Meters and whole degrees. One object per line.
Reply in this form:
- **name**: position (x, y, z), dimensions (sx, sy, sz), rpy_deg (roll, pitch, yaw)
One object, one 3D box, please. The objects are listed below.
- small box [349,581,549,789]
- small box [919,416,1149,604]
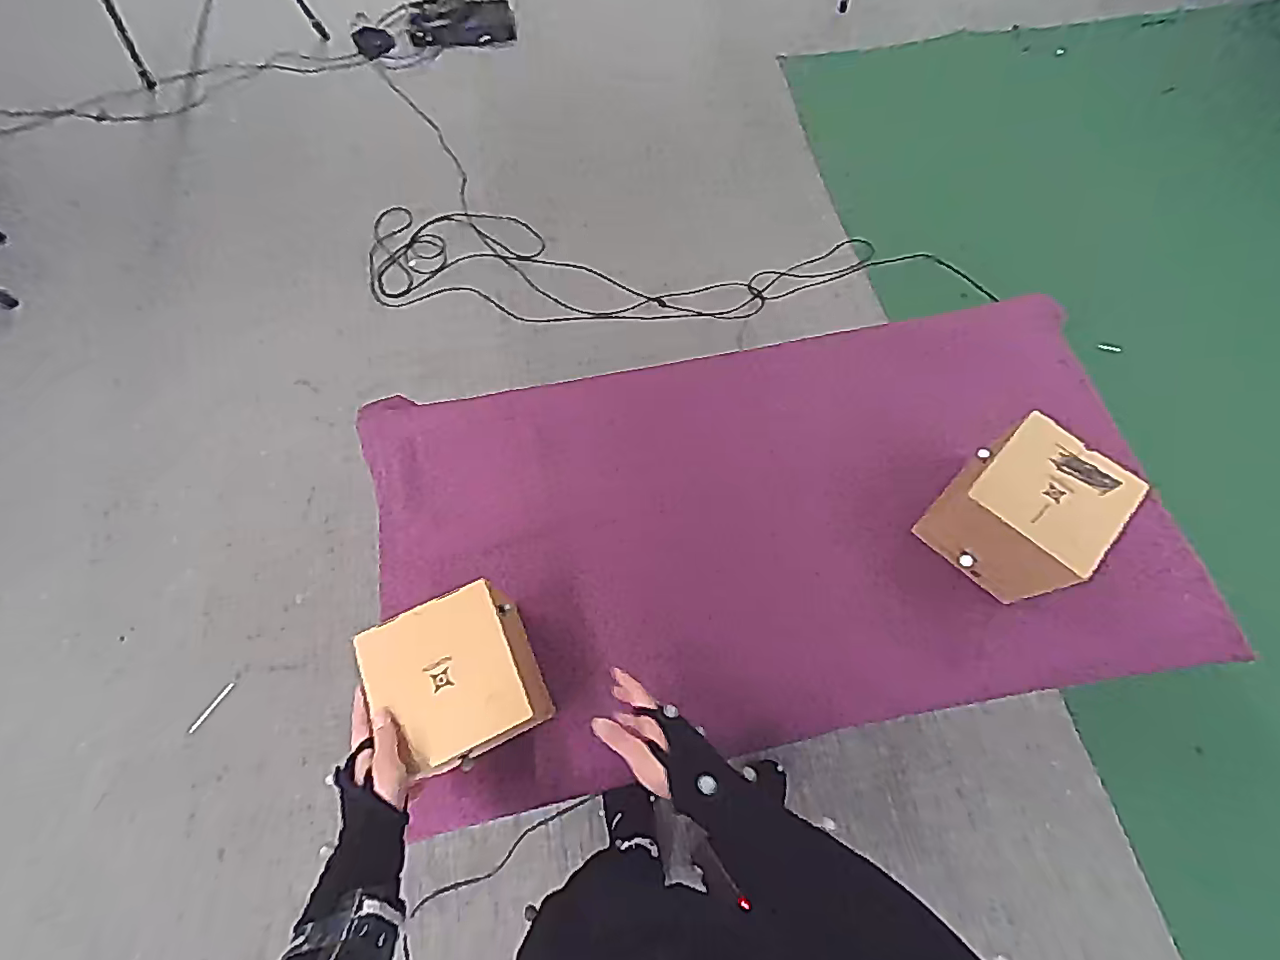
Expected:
- **small box**: position (-0.228, 0.254, 0.682), dimensions (0.168, 0.176, 0.179), rpy_deg (-24, 68, -9)
- **small box**: position (0.536, 0.049, 0.764), dimensions (0.168, 0.176, 0.179), rpy_deg (42, 75, 17)
